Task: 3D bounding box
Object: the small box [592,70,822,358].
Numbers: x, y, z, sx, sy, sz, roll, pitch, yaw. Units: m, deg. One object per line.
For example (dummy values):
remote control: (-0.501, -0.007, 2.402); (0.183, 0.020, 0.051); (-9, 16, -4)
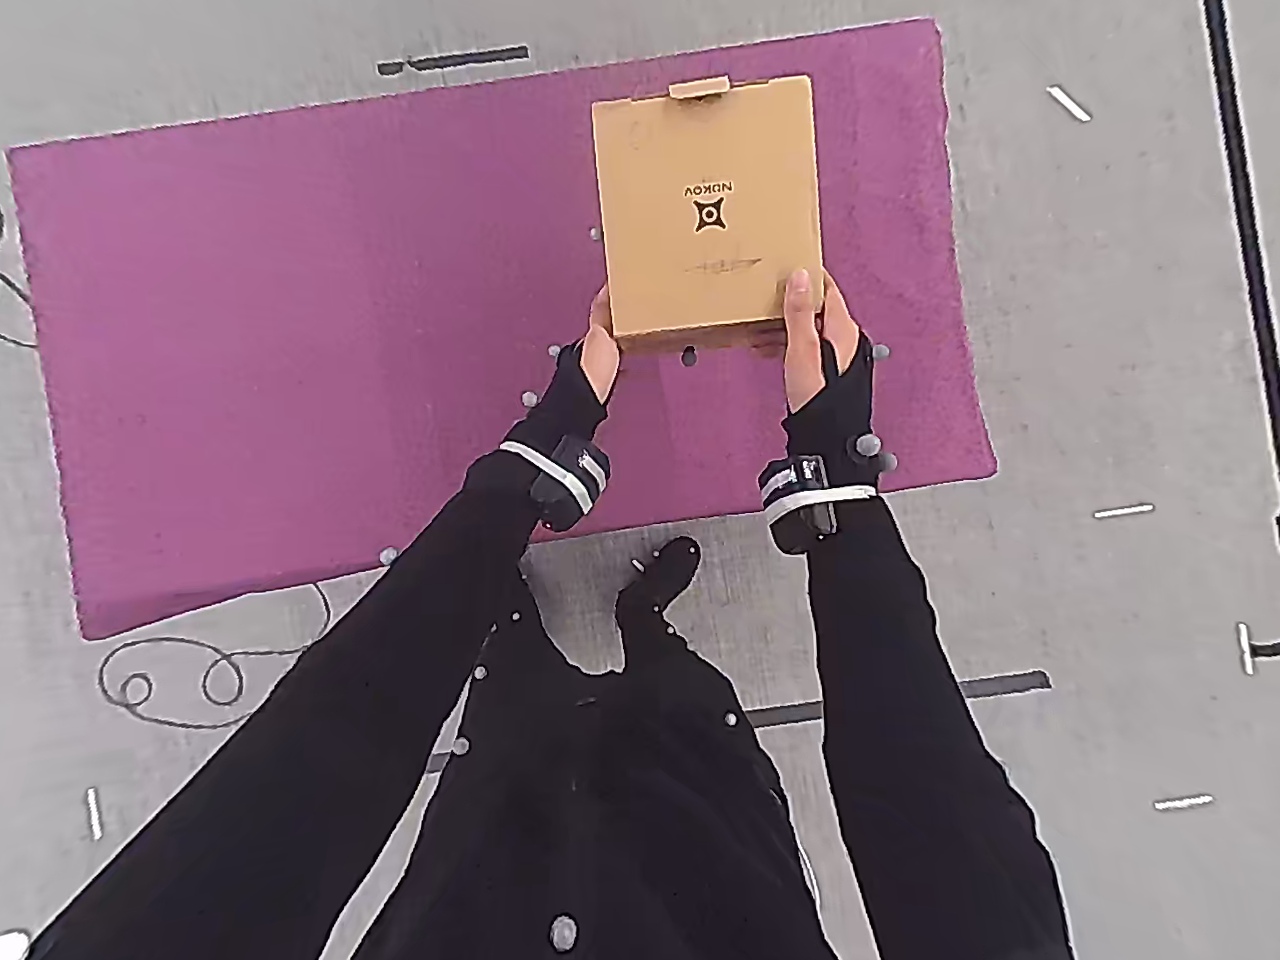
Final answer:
small box: (0.053, -0.213, 0.481); (0.168, 0.176, 0.179); (-4, 96, 3)
